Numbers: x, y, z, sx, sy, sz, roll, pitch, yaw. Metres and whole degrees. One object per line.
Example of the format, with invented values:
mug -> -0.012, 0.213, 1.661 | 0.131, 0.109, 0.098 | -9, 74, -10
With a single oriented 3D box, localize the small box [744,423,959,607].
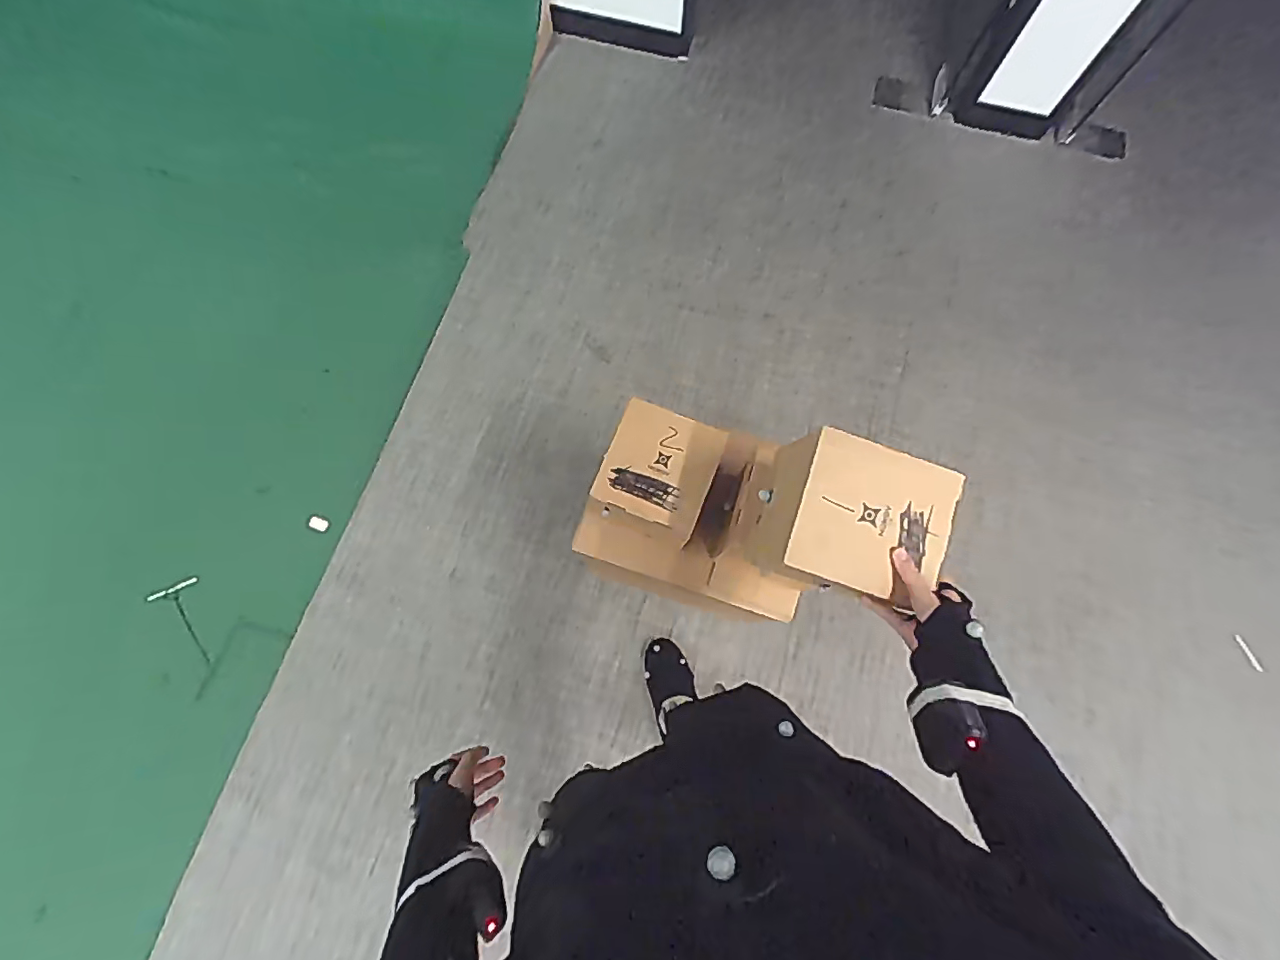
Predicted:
small box -> 0.251, 0.047, 0.680 | 0.179, 0.176, 0.168 | 19, 81, 0
